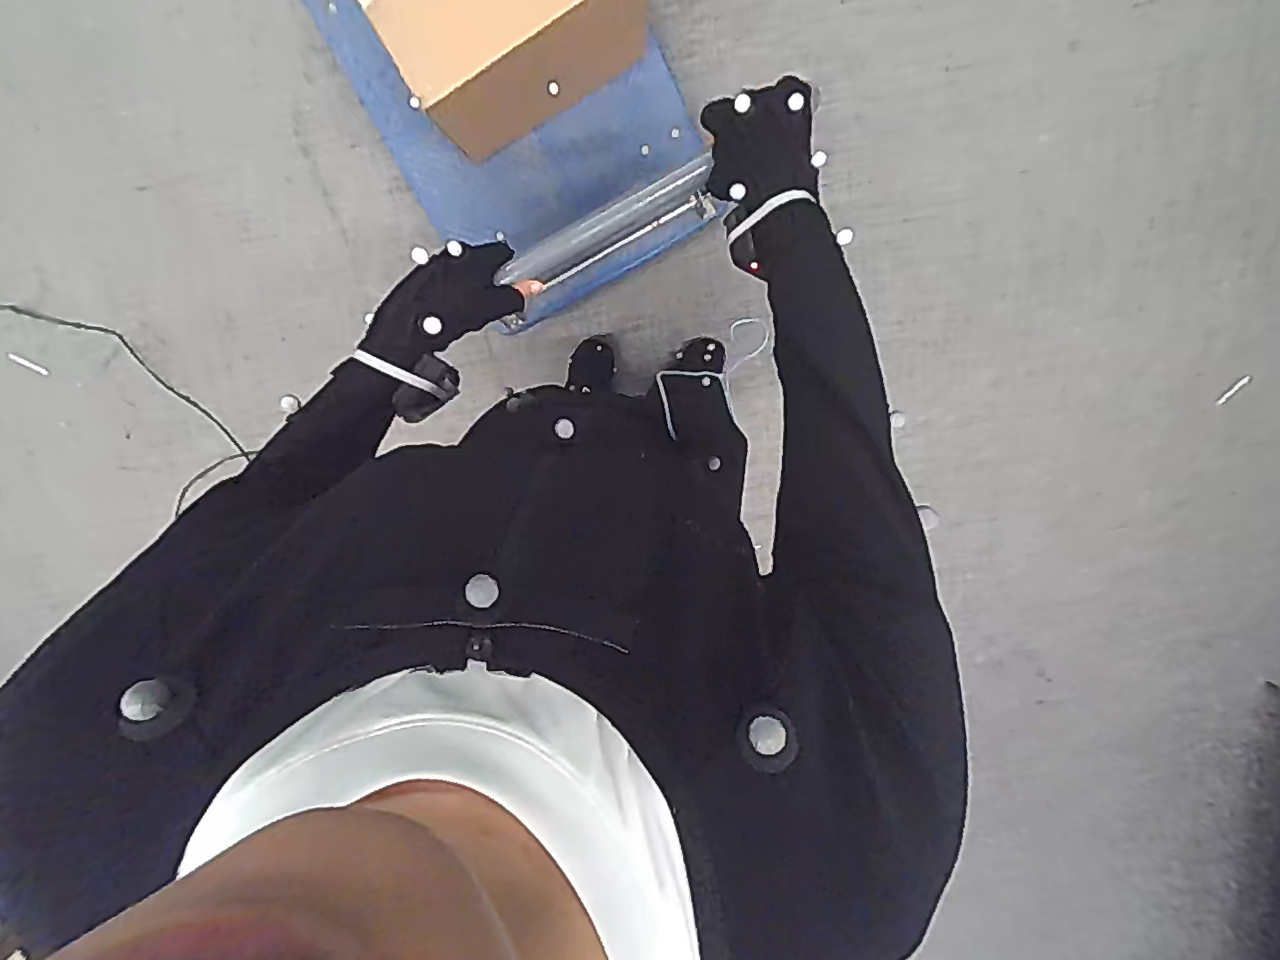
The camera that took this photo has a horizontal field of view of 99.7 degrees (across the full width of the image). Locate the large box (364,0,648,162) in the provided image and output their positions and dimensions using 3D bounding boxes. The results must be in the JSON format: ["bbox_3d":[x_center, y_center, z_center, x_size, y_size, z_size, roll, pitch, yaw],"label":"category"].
[{"bbox_3d":[-0.232,-0.841,0.929,0.408,0.320,0.320,-29,103,8],"label":"large box"}]
